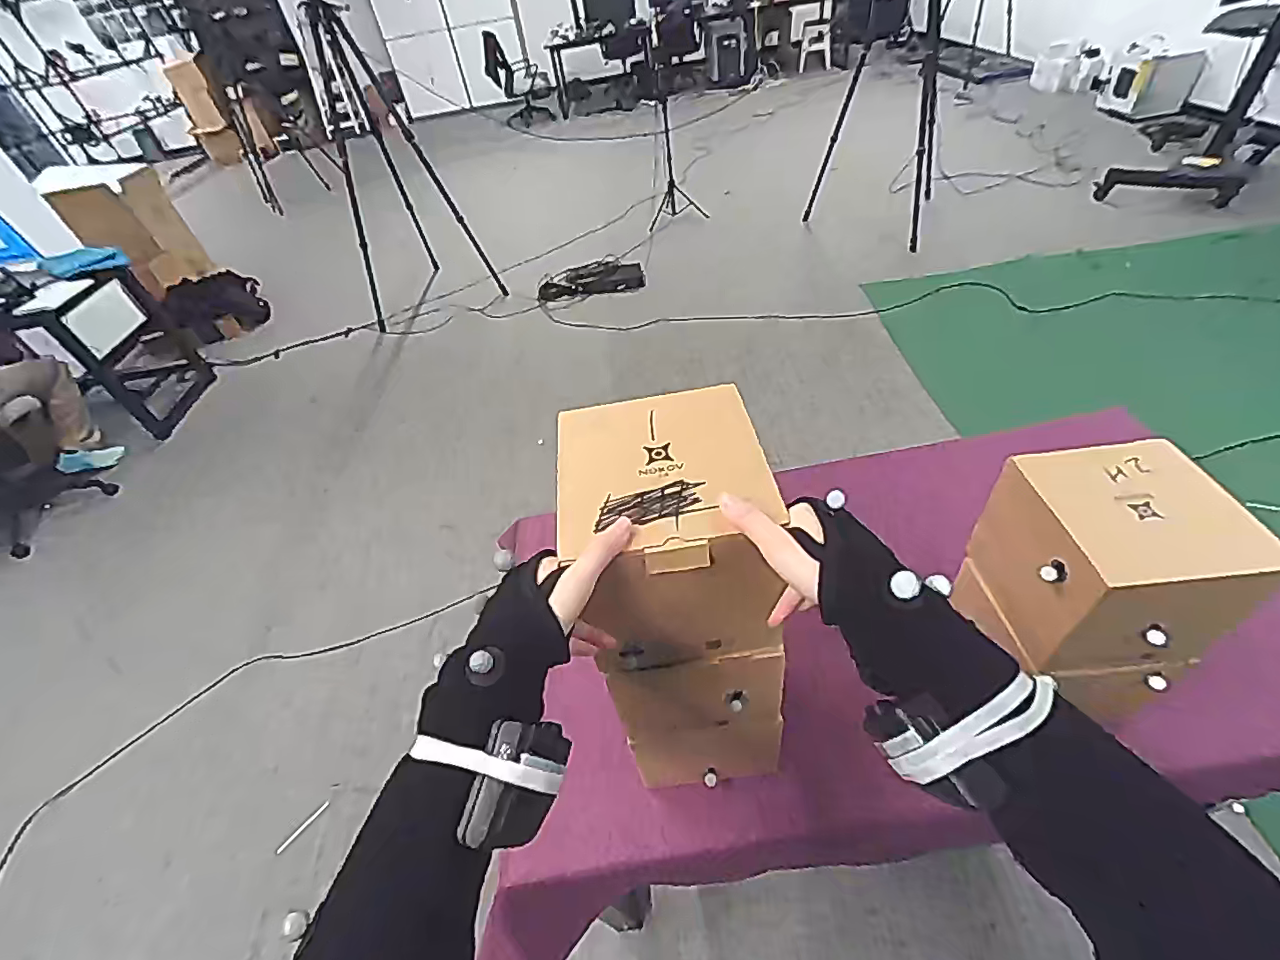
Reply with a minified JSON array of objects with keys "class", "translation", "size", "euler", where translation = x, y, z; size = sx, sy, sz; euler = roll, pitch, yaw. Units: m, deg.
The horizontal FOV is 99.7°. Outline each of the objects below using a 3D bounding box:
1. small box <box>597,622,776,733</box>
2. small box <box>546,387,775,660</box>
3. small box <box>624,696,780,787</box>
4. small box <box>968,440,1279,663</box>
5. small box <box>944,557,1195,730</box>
[{"class":"small box","translation":[0.050,0.163,0.596],"size":[0.168,0.176,0.179],"euler":[-8,44,3]},{"class":"small box","translation":[0.019,0.045,0.486],"size":[0.168,0.176,0.179],"euler":[-9,43,1]},{"class":"small box","translation":[0.073,0.281,0.707],"size":[0.179,0.176,0.168],"euler":[-9,44,2]},{"class":"small box","translation":[0.494,0.083,0.583],"size":[0.168,0.176,0.179],"euler":[-7,44,4]},{"class":"small box","translation":[0.518,0.203,0.694],"size":[0.179,0.176,0.168],"euler":[-8,44,3]}]
